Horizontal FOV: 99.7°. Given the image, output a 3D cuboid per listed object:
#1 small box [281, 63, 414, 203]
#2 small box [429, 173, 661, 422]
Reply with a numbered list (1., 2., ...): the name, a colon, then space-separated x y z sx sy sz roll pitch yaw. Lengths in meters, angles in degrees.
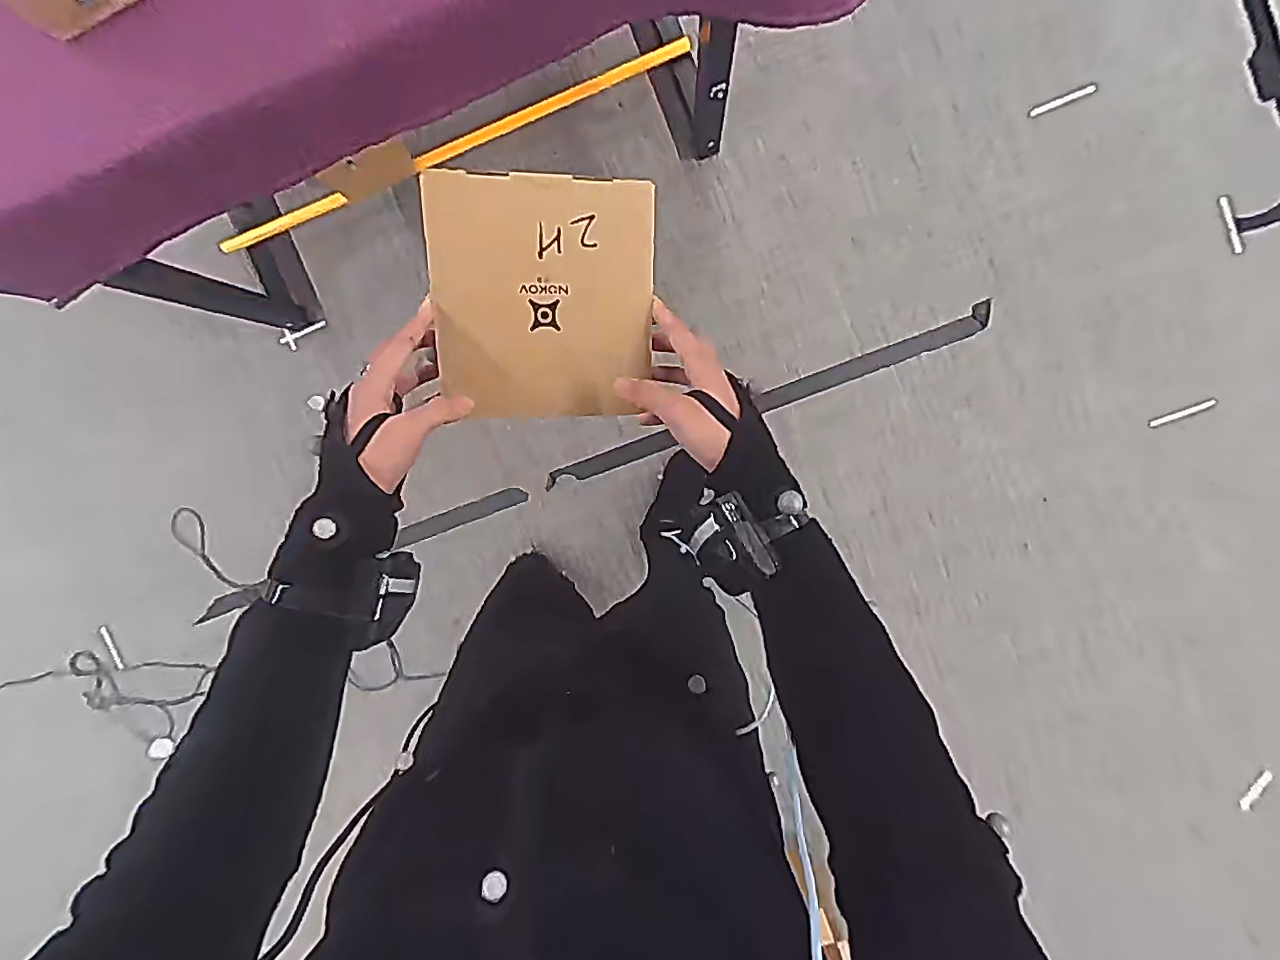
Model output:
1. small box: -0.625 -0.748 1.186 0.179 0.176 0.168 -22 94 6
2. small box: -0.079 -0.155 0.483 0.168 0.176 0.179 -2 108 -9
